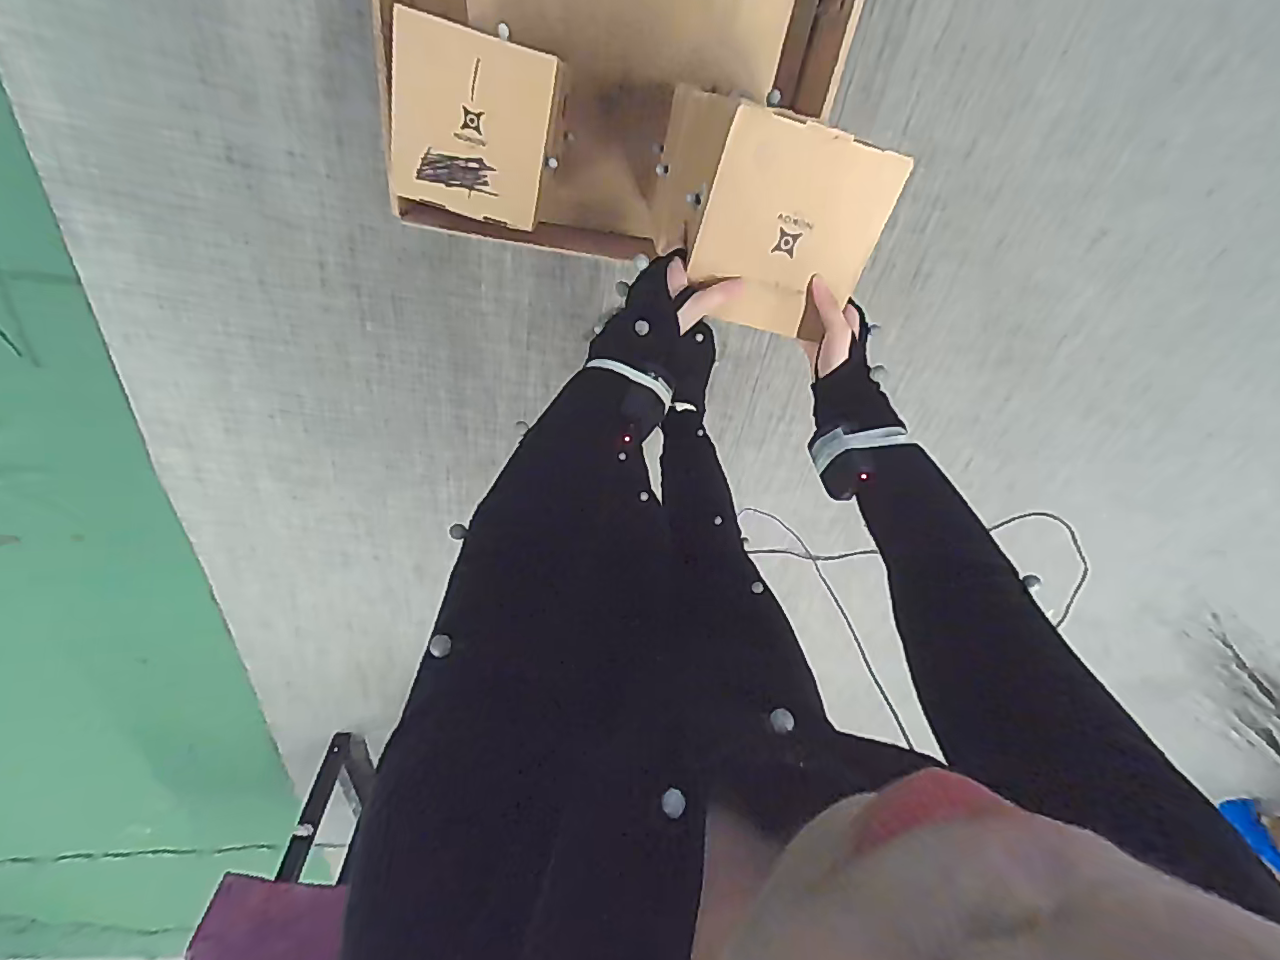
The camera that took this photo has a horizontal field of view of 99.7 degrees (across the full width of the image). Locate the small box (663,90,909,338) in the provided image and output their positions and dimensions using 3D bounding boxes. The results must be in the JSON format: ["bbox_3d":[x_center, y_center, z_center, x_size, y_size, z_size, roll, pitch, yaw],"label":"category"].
[{"bbox_3d":[0.127,-0.277,0.558,0.168,0.176,0.179,11,126,-12],"label":"small box"}]

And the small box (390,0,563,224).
[{"bbox_3d":[-0.191,-0.440,0.657,0.168,0.176,0.179,11,124,-12],"label":"small box"}]
